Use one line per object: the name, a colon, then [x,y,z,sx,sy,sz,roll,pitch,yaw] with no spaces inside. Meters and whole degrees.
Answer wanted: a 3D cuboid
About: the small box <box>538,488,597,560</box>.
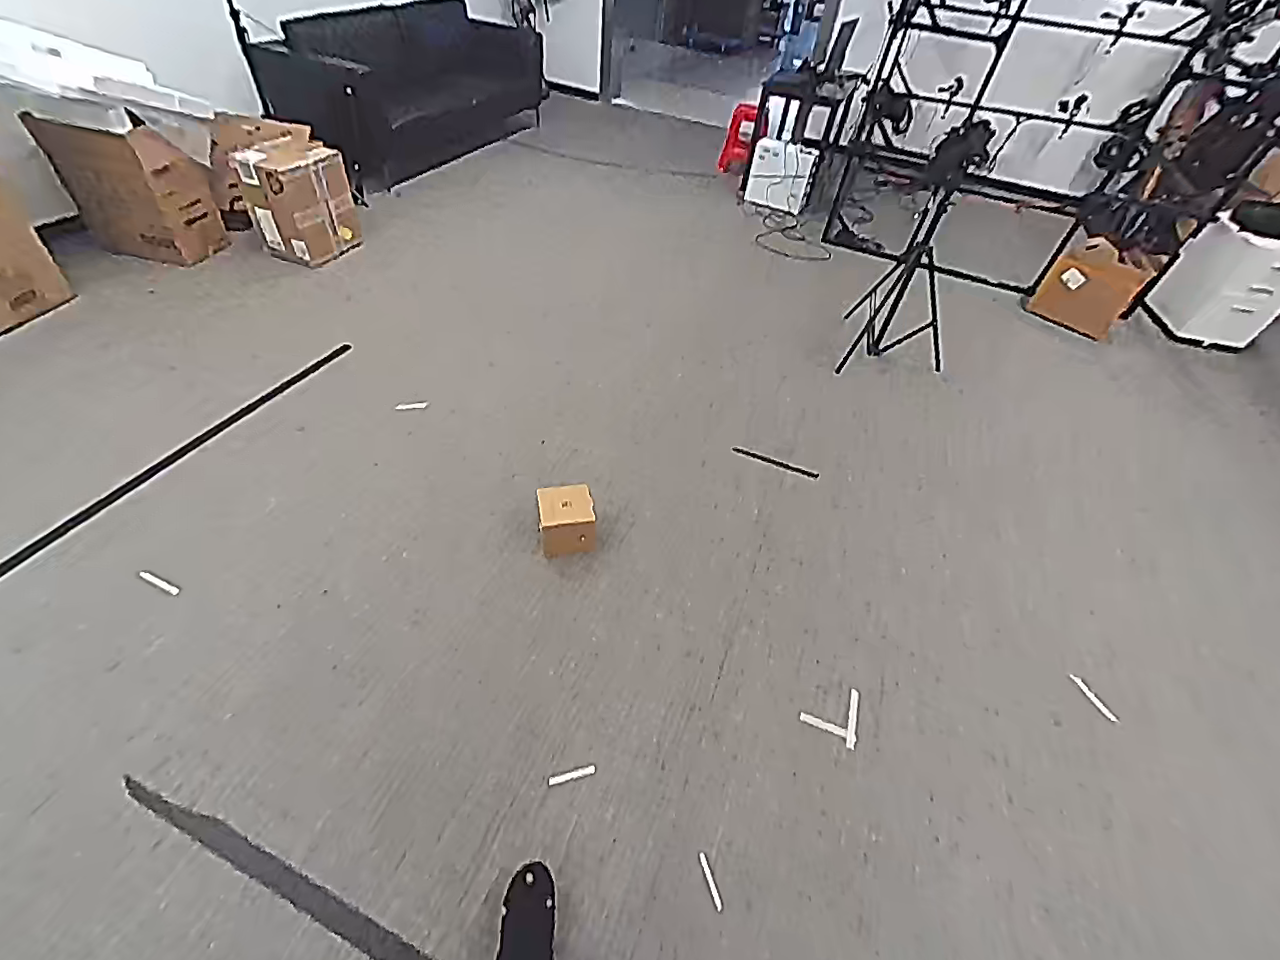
small box: [-0.247,0.149,1.820,0.179,0.176,0.168,-7,46,-13]
